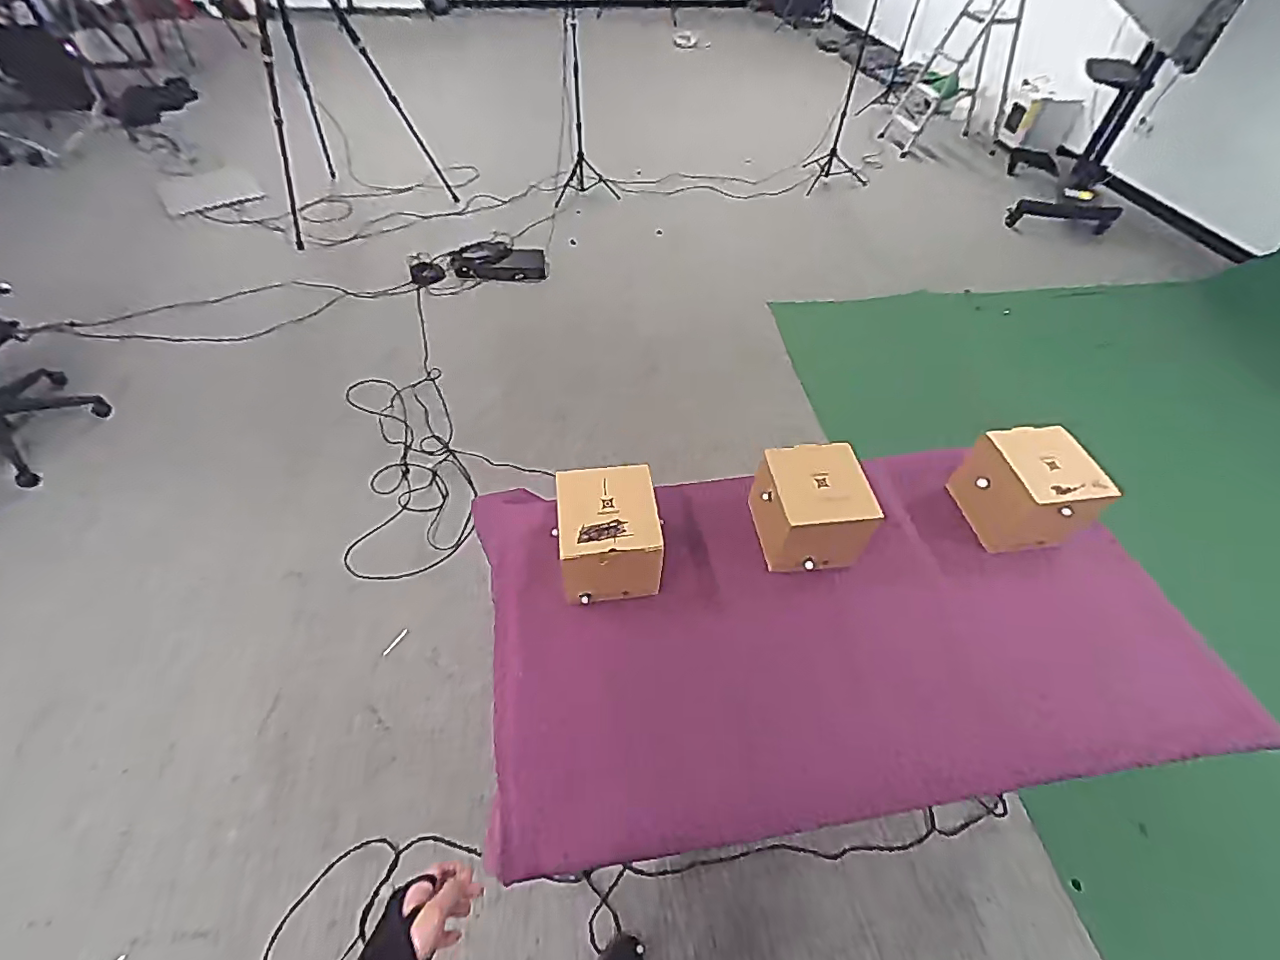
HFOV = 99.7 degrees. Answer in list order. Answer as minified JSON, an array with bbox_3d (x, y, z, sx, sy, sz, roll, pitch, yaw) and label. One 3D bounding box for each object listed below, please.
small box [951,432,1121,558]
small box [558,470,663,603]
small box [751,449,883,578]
[{"bbox_3d":[0.750,0.030,1.052,0.168,0.176,0.179,-6,50,-5],"label":"small box"},{"bbox_3d":[-0.054,0.106,0.957,0.168,0.176,0.179,-5,51,-7],"label":"small box"},{"bbox_3d":[0.317,0.063,1.012,0.168,0.176,0.179,-4,51,-5],"label":"small box"}]
